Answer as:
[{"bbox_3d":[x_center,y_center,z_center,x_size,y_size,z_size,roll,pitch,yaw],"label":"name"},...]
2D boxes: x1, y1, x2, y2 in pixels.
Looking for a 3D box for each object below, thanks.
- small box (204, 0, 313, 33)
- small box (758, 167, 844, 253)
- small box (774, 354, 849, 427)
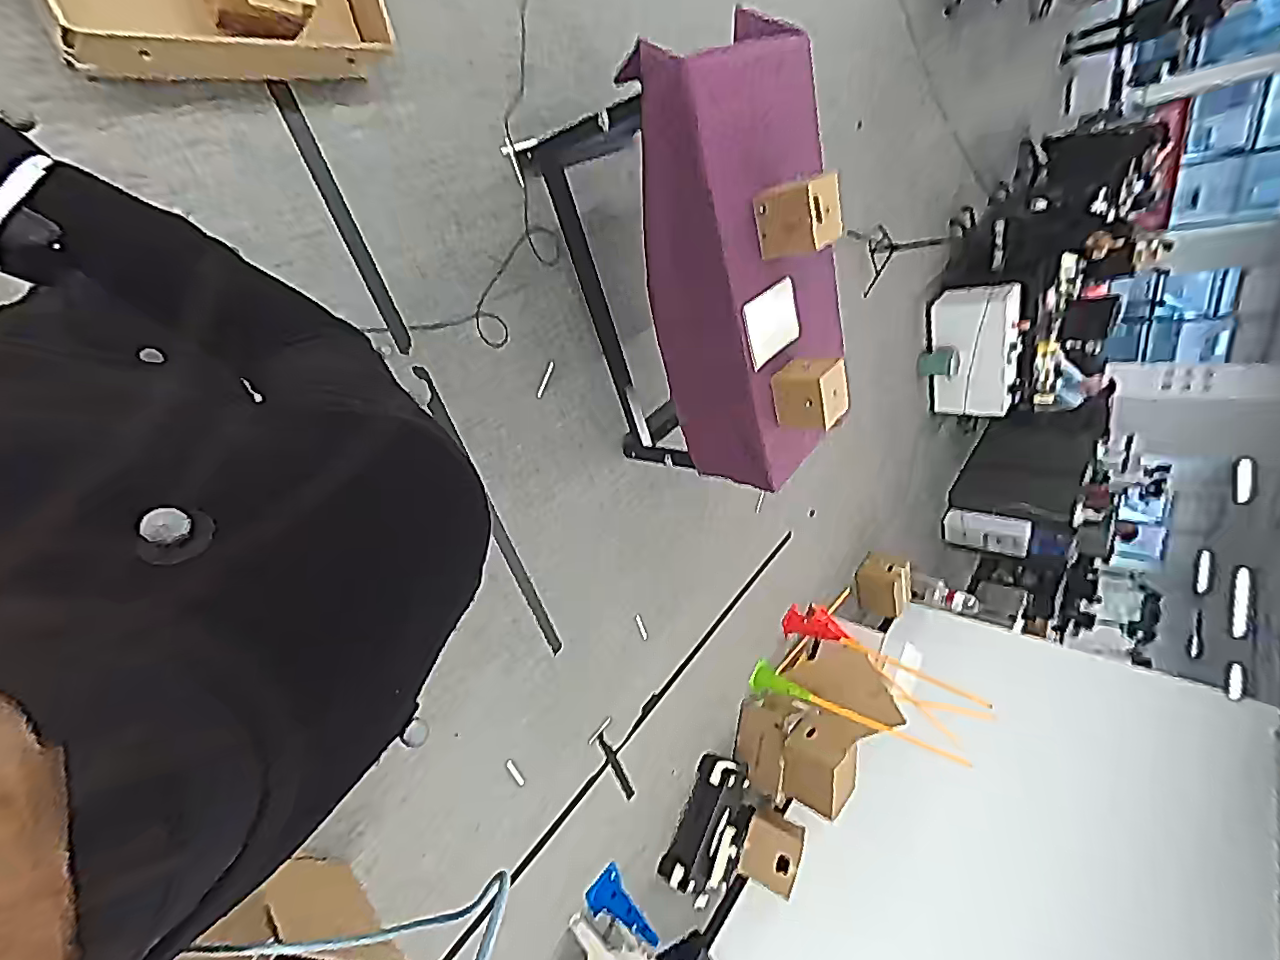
[{"bbox_3d":[-0.813,-1.072,1.118,0.168,0.176,0.179,-25,116,-40],"label":"small box"},{"bbox_3d":[0.444,-0.747,1.507,0.179,0.176,0.168,-40,125,-34],"label":"small box"},{"bbox_3d":[0.539,-0.284,1.707,0.168,0.176,0.179,-39,124,-34],"label":"small box"}]
